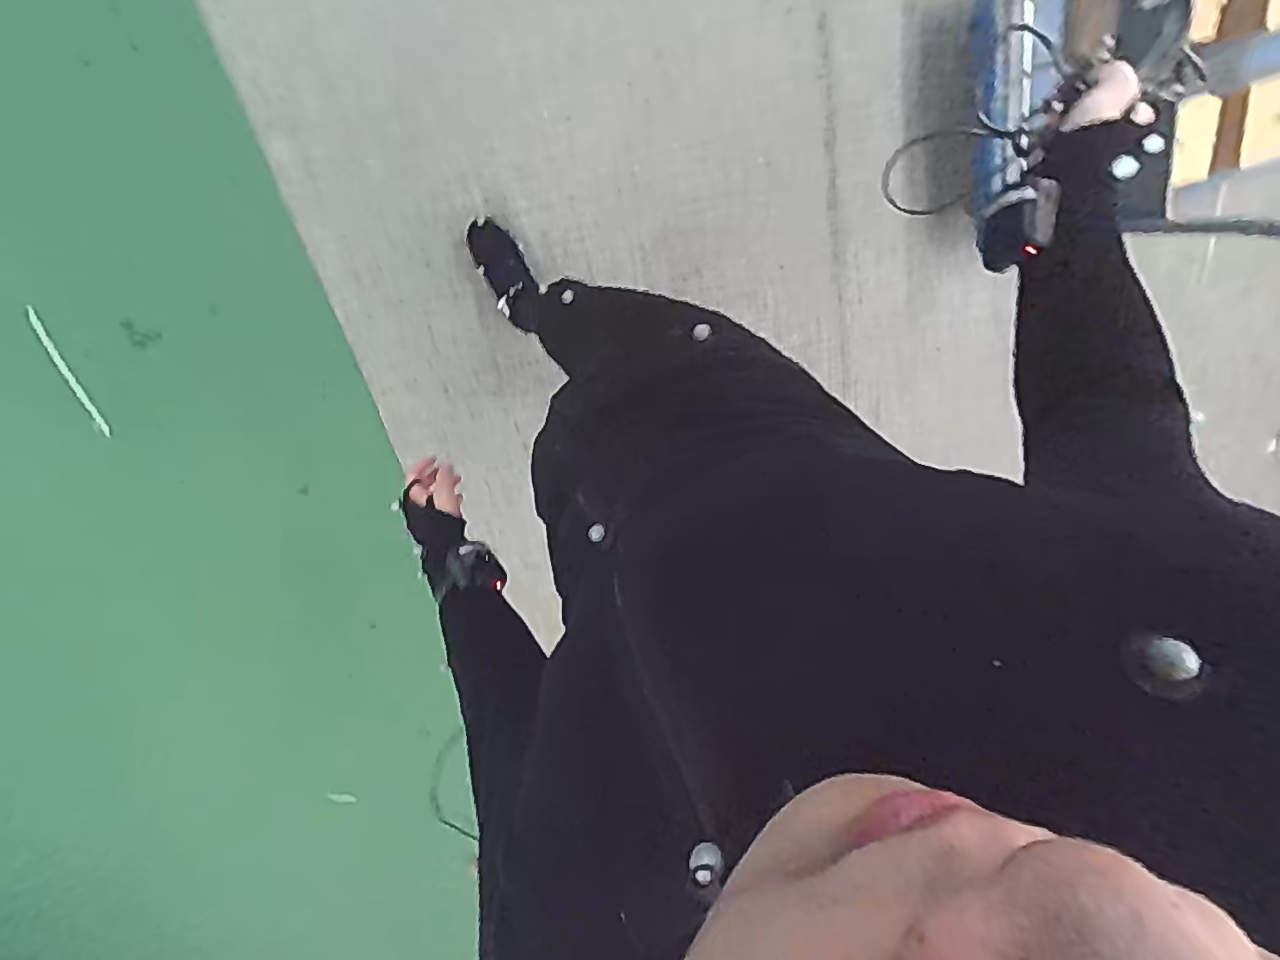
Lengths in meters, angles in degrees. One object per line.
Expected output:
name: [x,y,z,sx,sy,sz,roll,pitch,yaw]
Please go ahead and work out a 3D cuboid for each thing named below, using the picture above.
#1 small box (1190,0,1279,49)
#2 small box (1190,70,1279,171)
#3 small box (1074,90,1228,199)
small box: [1.313,-1.041,1.126,0.179,0.176,0.168,-20,115,1]
small box: [1.381,-0.818,1.230,0.179,0.176,0.168,-18,114,0]
small box: [1.145,-0.750,1.225,0.179,0.176,0.168,-15,114,-1]
